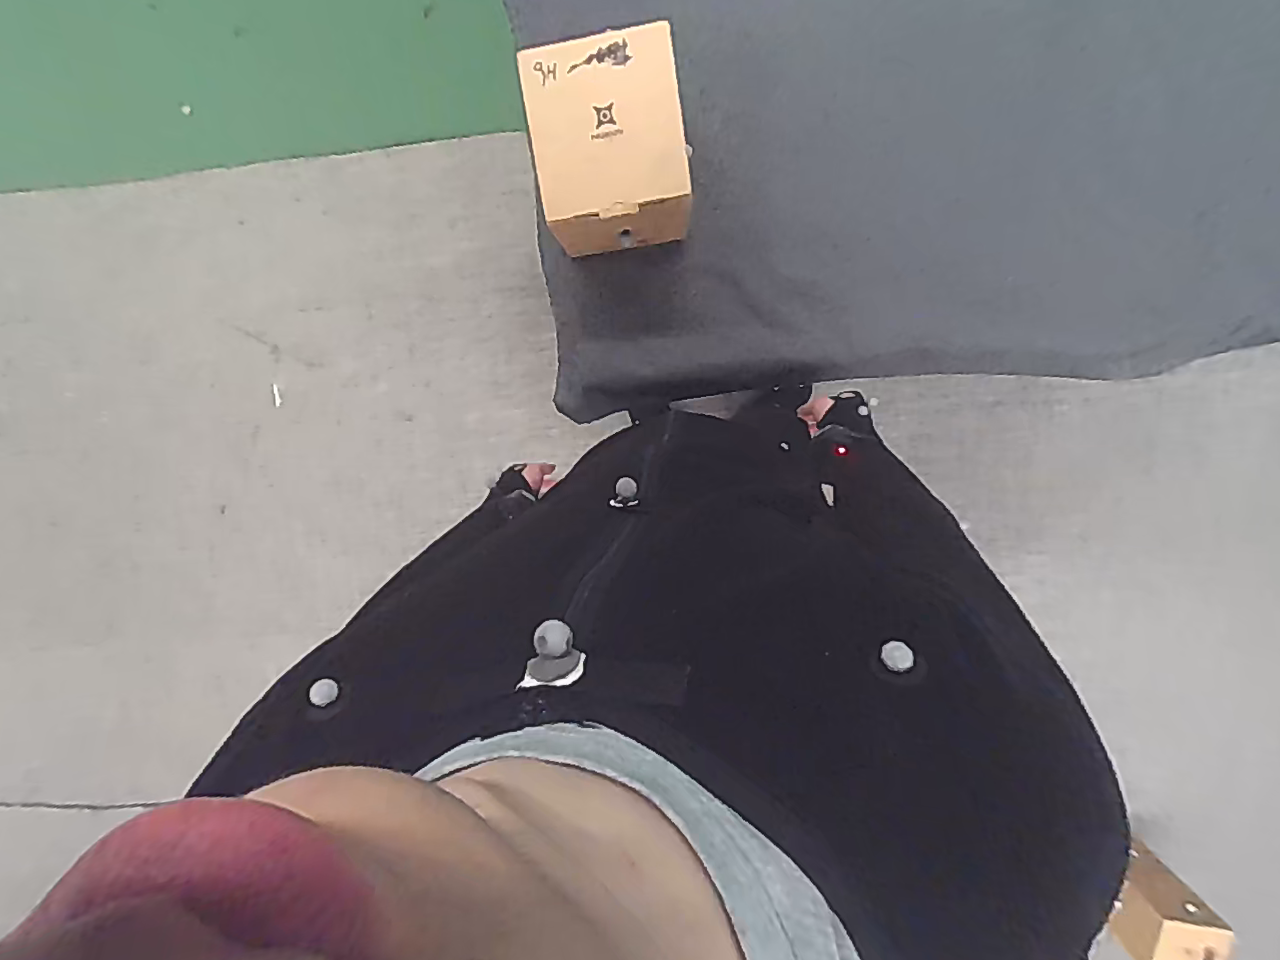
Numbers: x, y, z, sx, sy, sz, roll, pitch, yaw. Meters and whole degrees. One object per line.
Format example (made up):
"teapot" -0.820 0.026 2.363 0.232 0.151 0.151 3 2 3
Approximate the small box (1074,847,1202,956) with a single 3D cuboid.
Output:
"small box" 1.366 1.157 1.495 0.179 0.176 0.168 8 100 1

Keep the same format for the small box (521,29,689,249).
"small box" -0.033 -0.397 0.669 0.168 0.176 0.179 -8 101 3
